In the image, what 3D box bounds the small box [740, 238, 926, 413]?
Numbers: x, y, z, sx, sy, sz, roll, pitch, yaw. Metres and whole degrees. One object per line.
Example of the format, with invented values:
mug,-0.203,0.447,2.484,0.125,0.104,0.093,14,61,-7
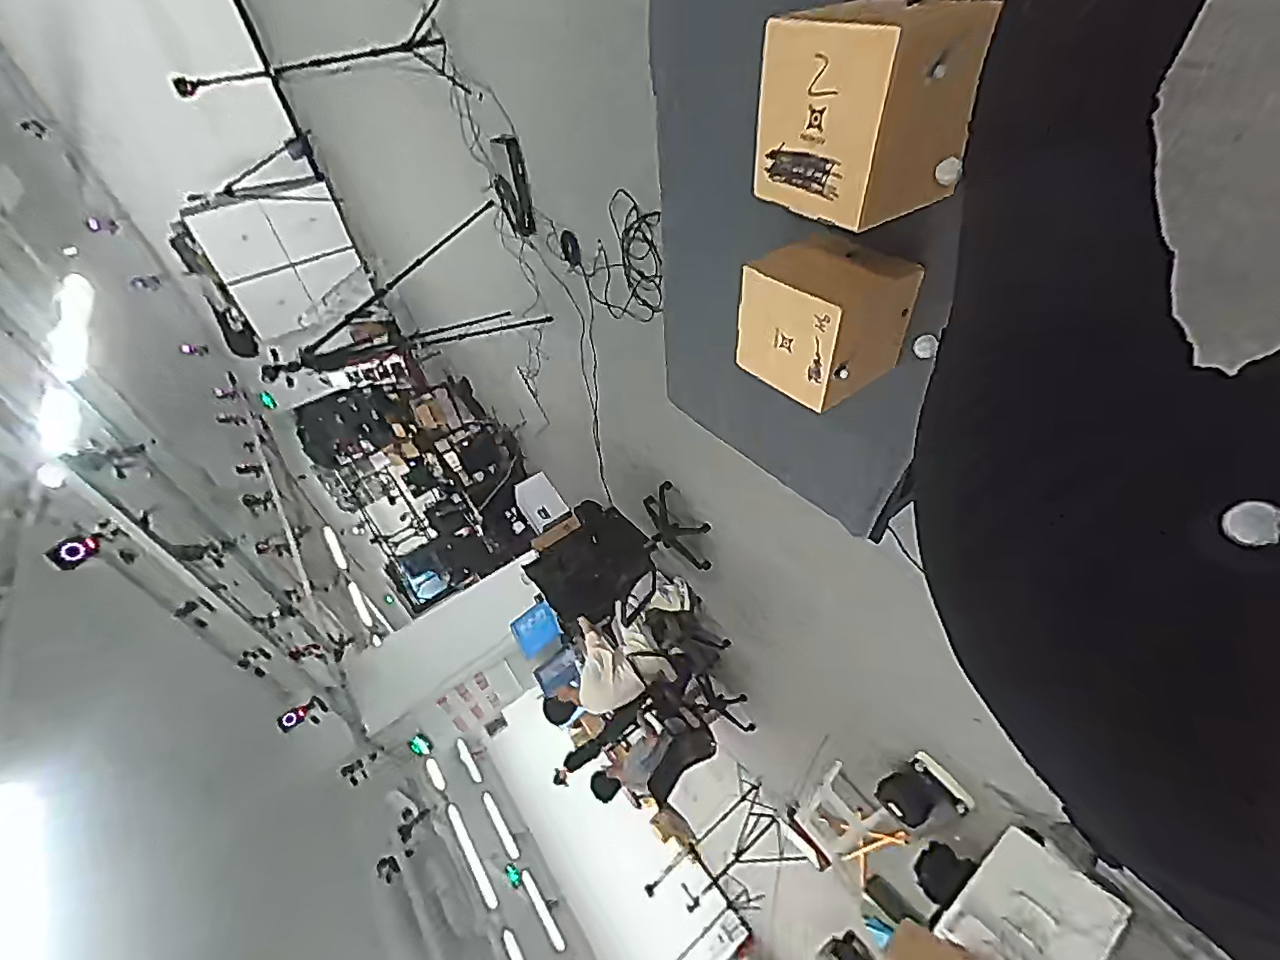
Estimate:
small box,0.271,-0.233,0.790,0.179,0.176,0.168,45,155,36
